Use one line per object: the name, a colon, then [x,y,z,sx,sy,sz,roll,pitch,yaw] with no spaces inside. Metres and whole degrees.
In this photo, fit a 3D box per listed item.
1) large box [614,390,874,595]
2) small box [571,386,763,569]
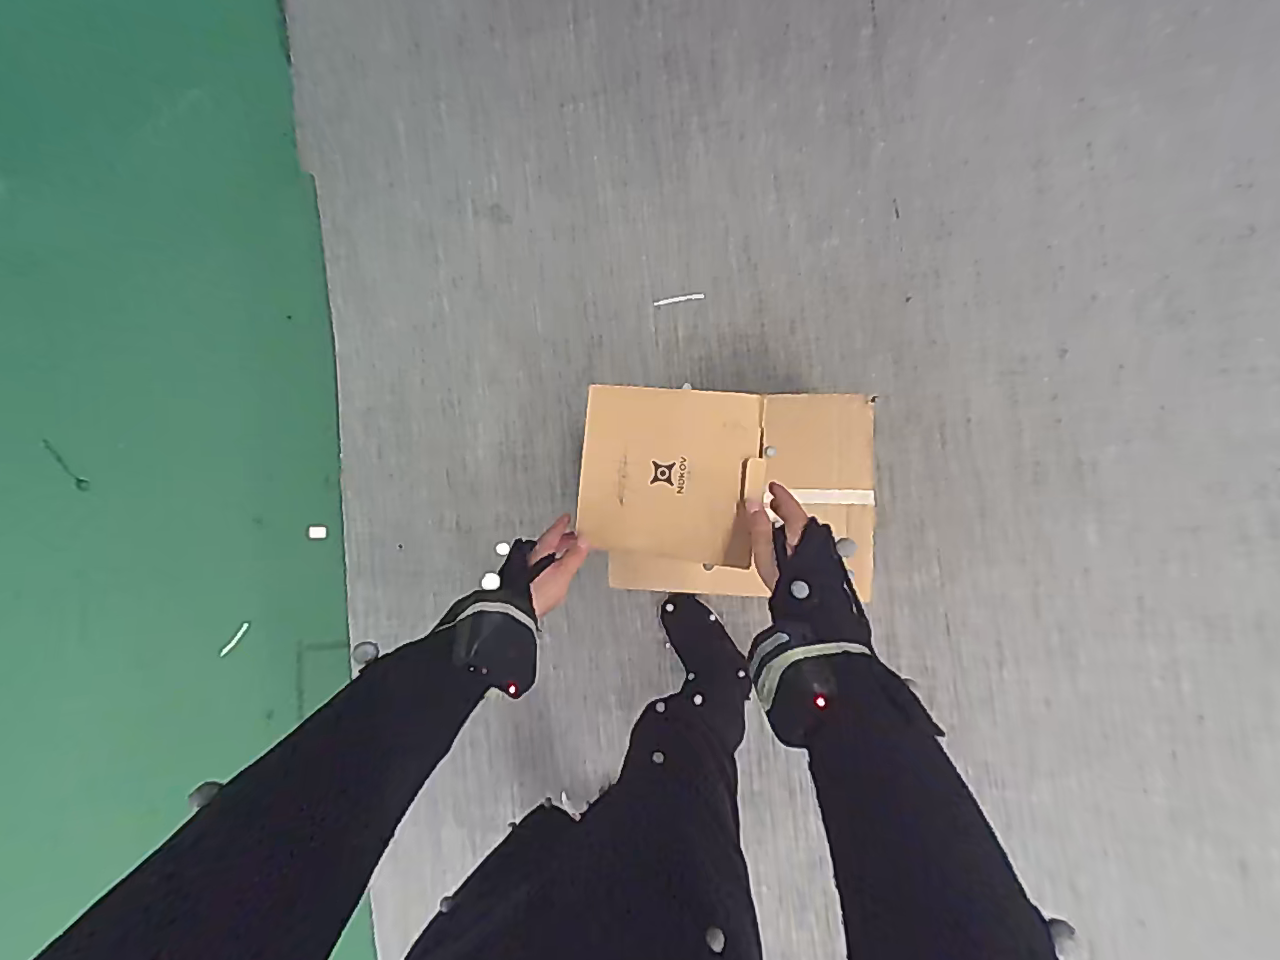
large box: [0.177,0.025,0.986,0.408,0.320,0.320,0,89,11]
small box: [0.040,-0.002,0.599,0.179,0.176,0.168,5,87,13]
